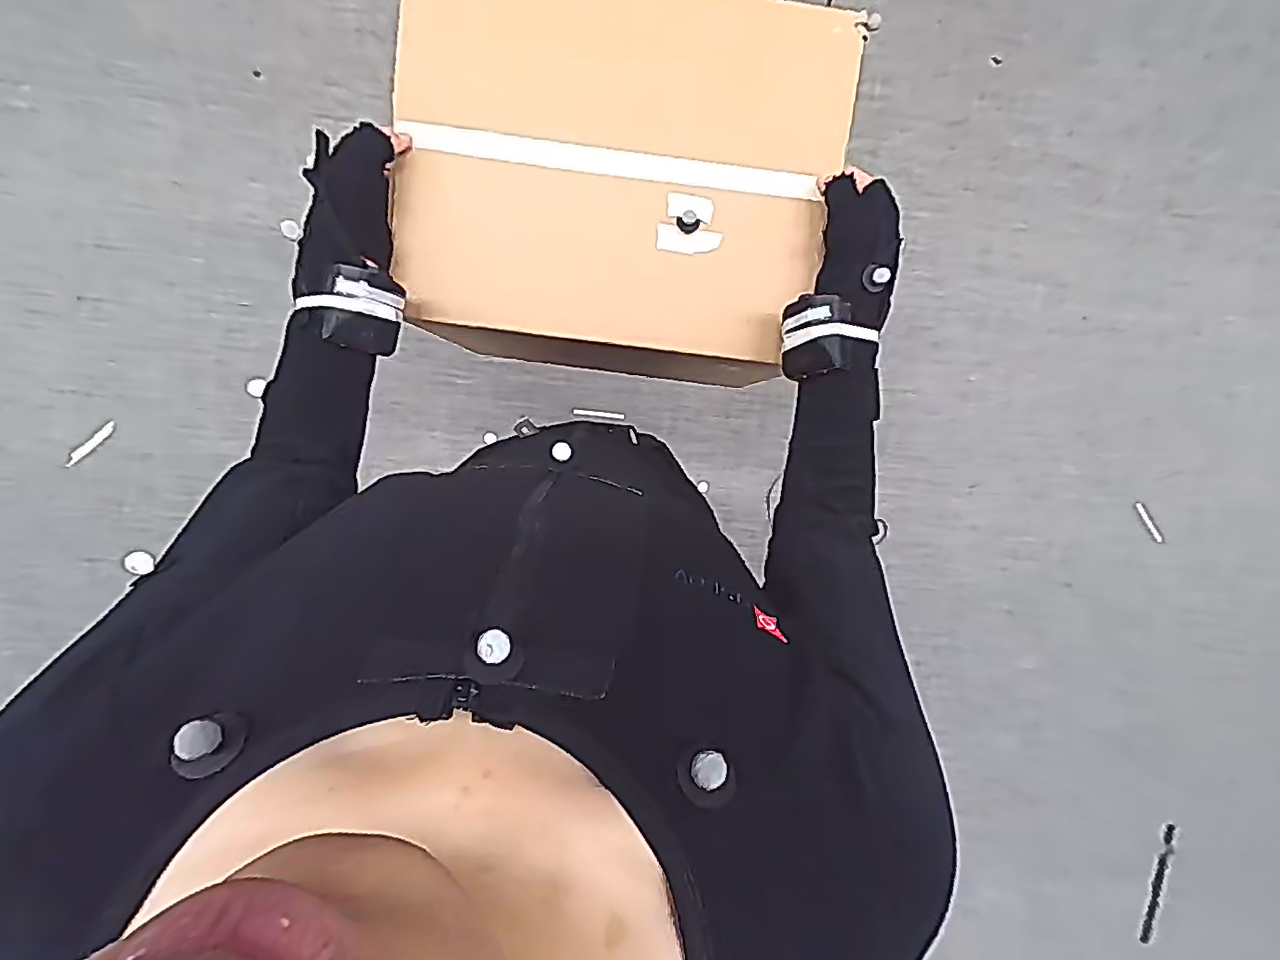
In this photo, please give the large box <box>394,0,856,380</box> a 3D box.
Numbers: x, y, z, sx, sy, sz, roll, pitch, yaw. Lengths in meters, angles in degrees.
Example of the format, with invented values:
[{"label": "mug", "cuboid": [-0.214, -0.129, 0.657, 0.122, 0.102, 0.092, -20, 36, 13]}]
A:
[{"label": "large box", "cuboid": [-0.023, -0.303, 0.640, 0.408, 0.320, 0.320, 6, 96, -3]}]
